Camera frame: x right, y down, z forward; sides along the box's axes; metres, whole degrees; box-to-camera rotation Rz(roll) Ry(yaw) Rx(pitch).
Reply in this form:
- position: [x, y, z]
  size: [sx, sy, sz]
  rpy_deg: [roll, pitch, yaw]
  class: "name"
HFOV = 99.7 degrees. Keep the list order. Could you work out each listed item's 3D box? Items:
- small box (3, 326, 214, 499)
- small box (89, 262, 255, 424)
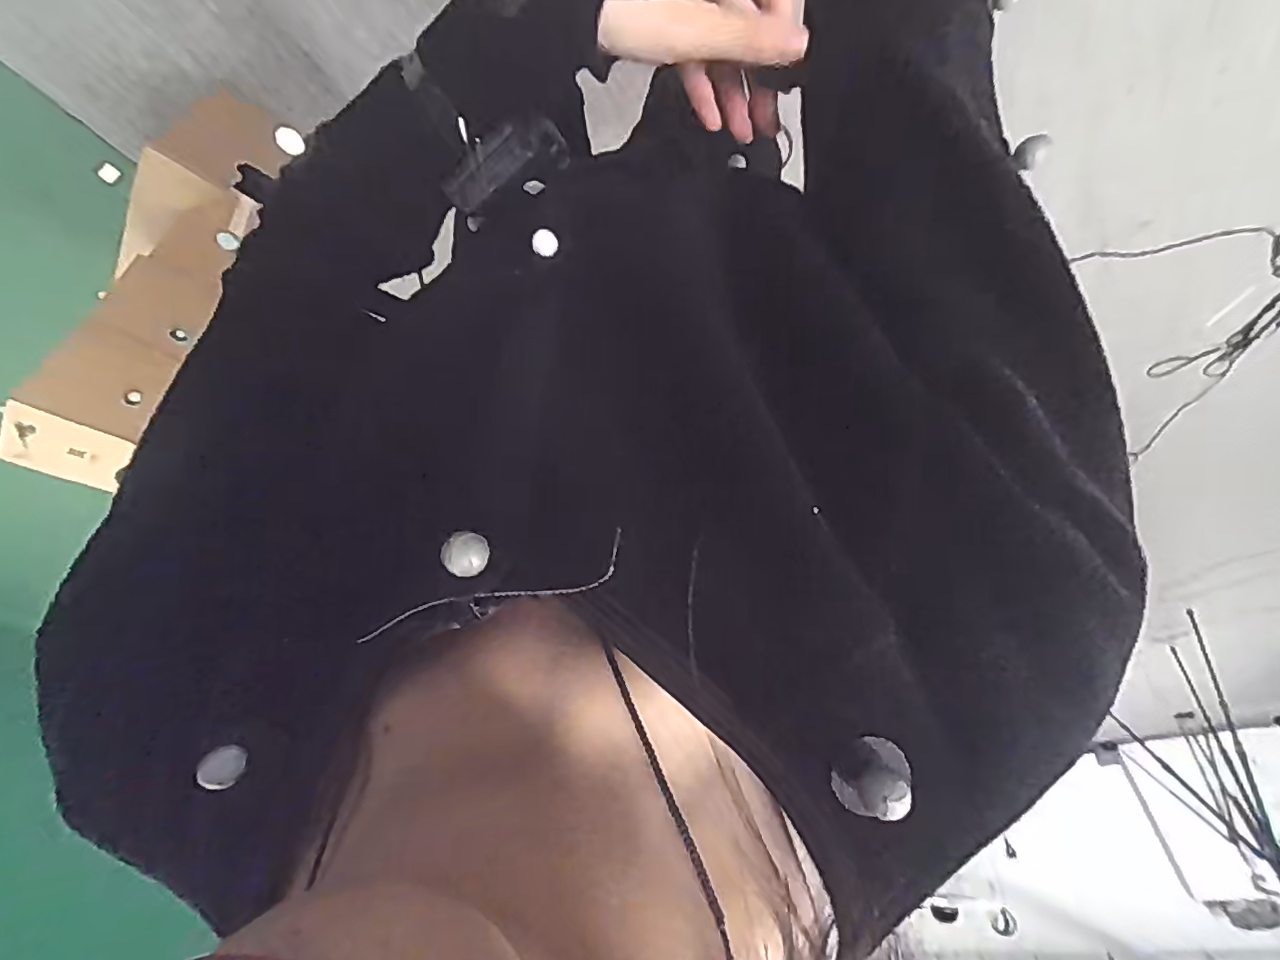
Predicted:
- position: [-0.805, -0.101, 0.834]
  size: [0.168, 0.176, 0.179]
  rpy_deg: [-31, 137, 32]
  class: "small box"
- position: [-0.808, -0.233, 0.932]
  size: [0.168, 0.176, 0.179]
  rpy_deg: [-30, 136, 31]
  class: "small box"
